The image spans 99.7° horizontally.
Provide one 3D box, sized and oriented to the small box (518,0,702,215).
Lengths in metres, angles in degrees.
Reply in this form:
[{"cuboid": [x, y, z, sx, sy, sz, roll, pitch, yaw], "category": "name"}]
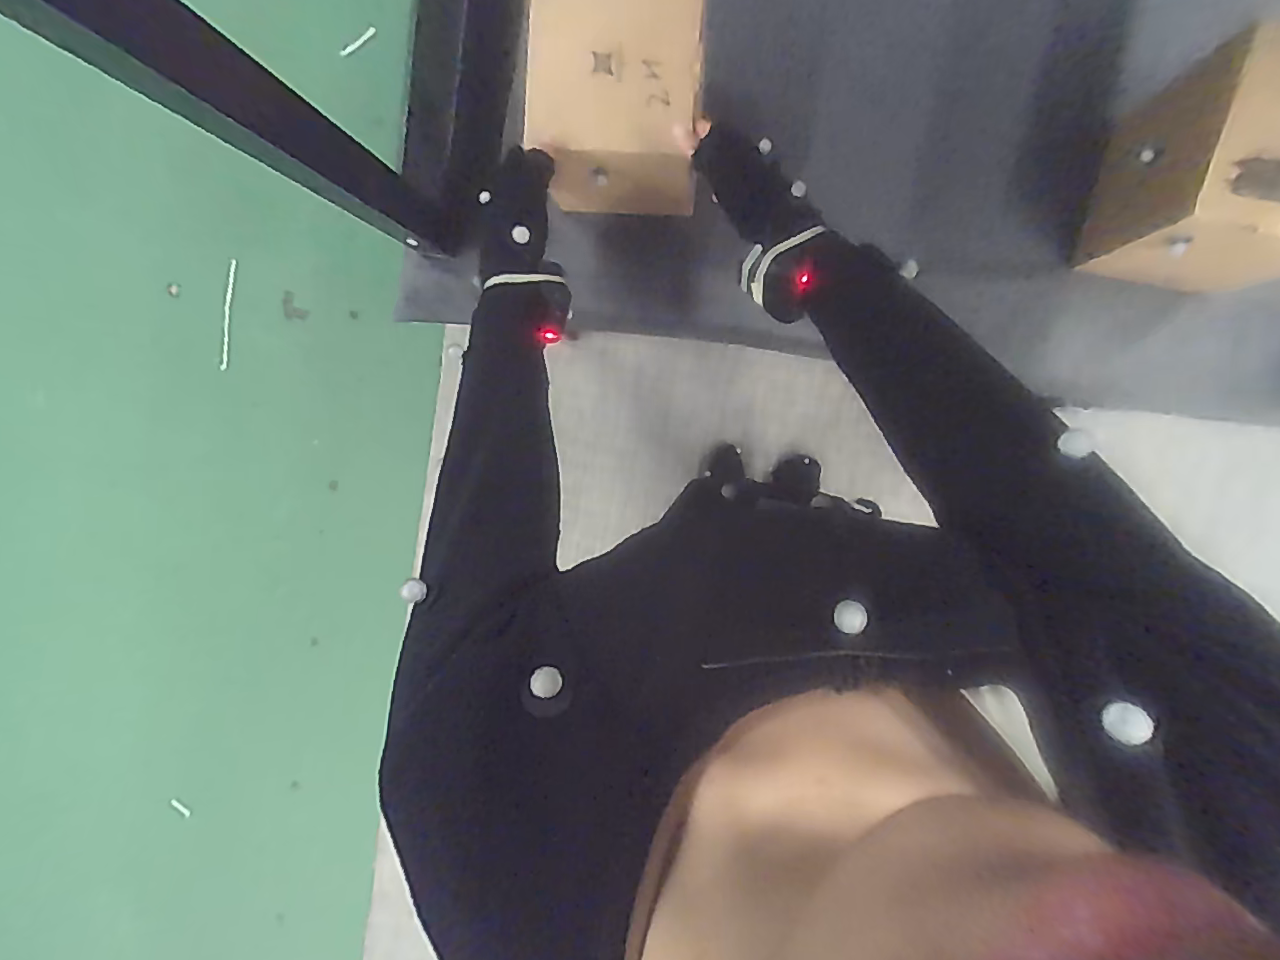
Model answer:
[{"cuboid": [-0.025, -0.421, 0.621, 0.179, 0.176, 0.168, 6, 98, 5], "category": "small box"}]
